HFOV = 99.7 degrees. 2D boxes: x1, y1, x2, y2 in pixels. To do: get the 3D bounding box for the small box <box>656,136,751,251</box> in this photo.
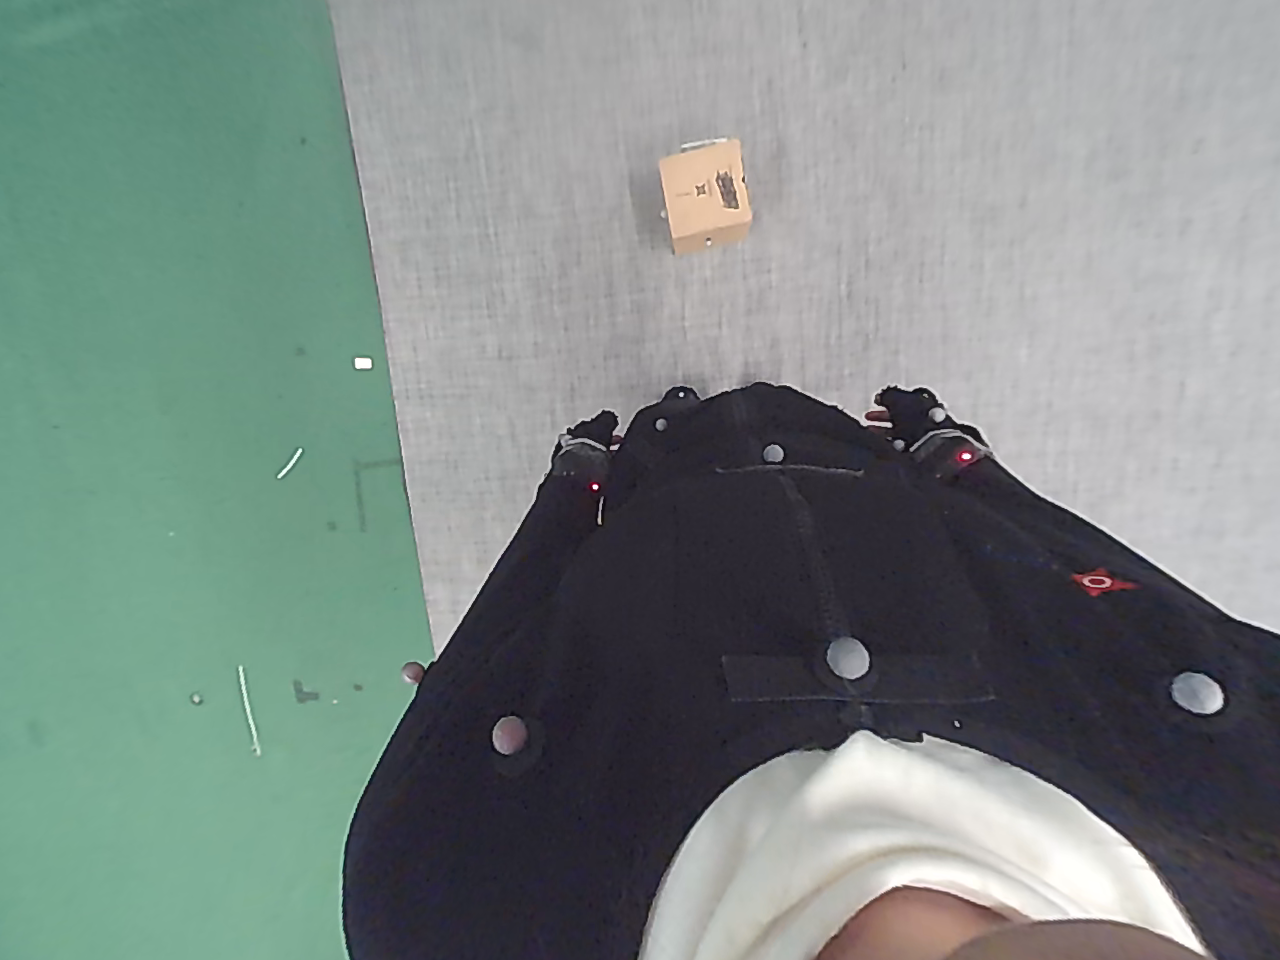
[{"bbox_3d":[0.142,-0.643,1.233,0.179,0.176,0.168,-13,99,8],"label":"small box"}]
